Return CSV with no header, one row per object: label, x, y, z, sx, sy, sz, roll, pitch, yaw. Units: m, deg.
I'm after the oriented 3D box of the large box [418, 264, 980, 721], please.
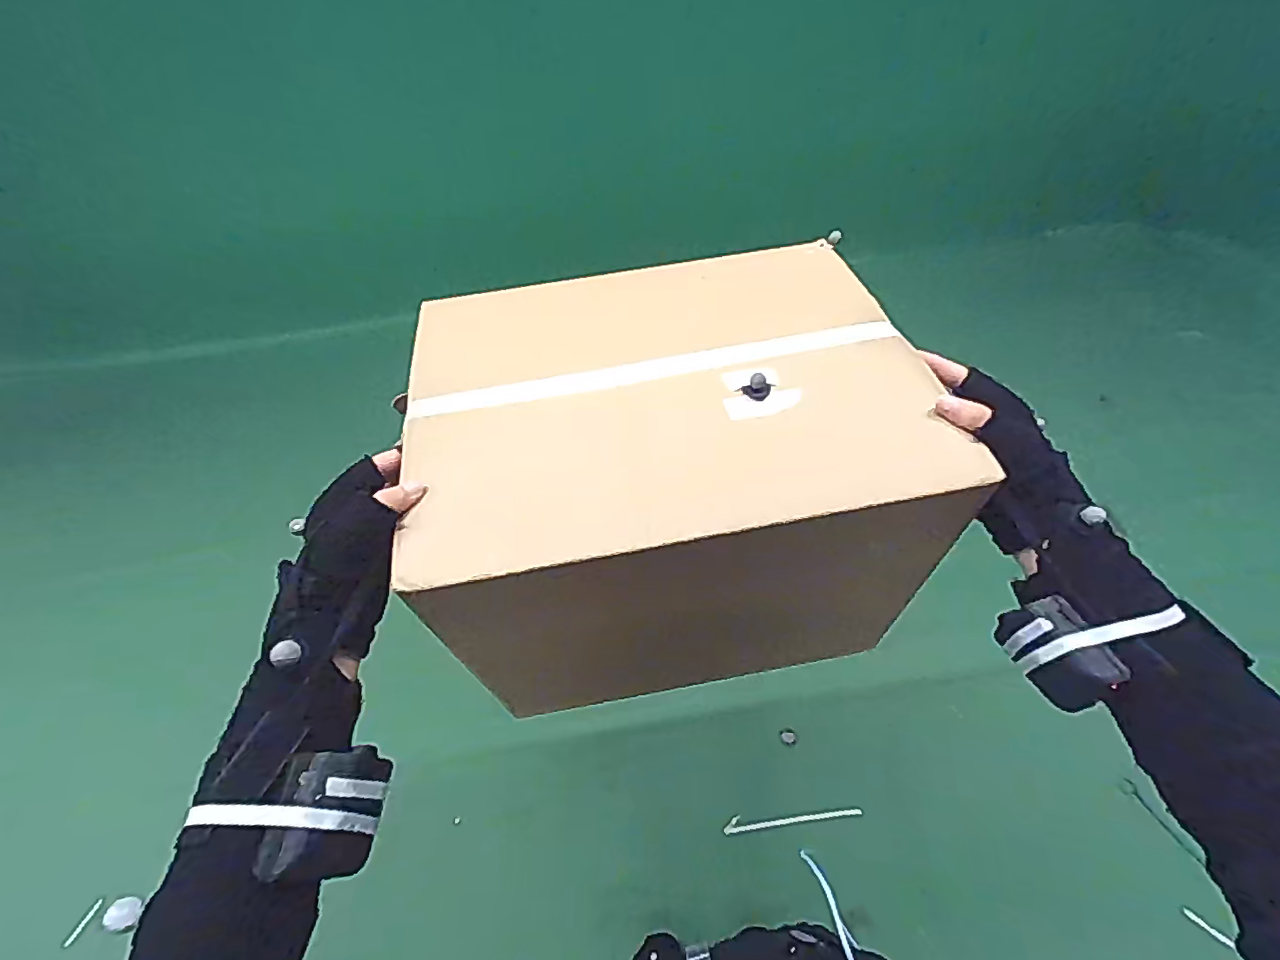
large box,0.027,0.018,0.571,0.408,0.320,0.320,-10,53,-4
